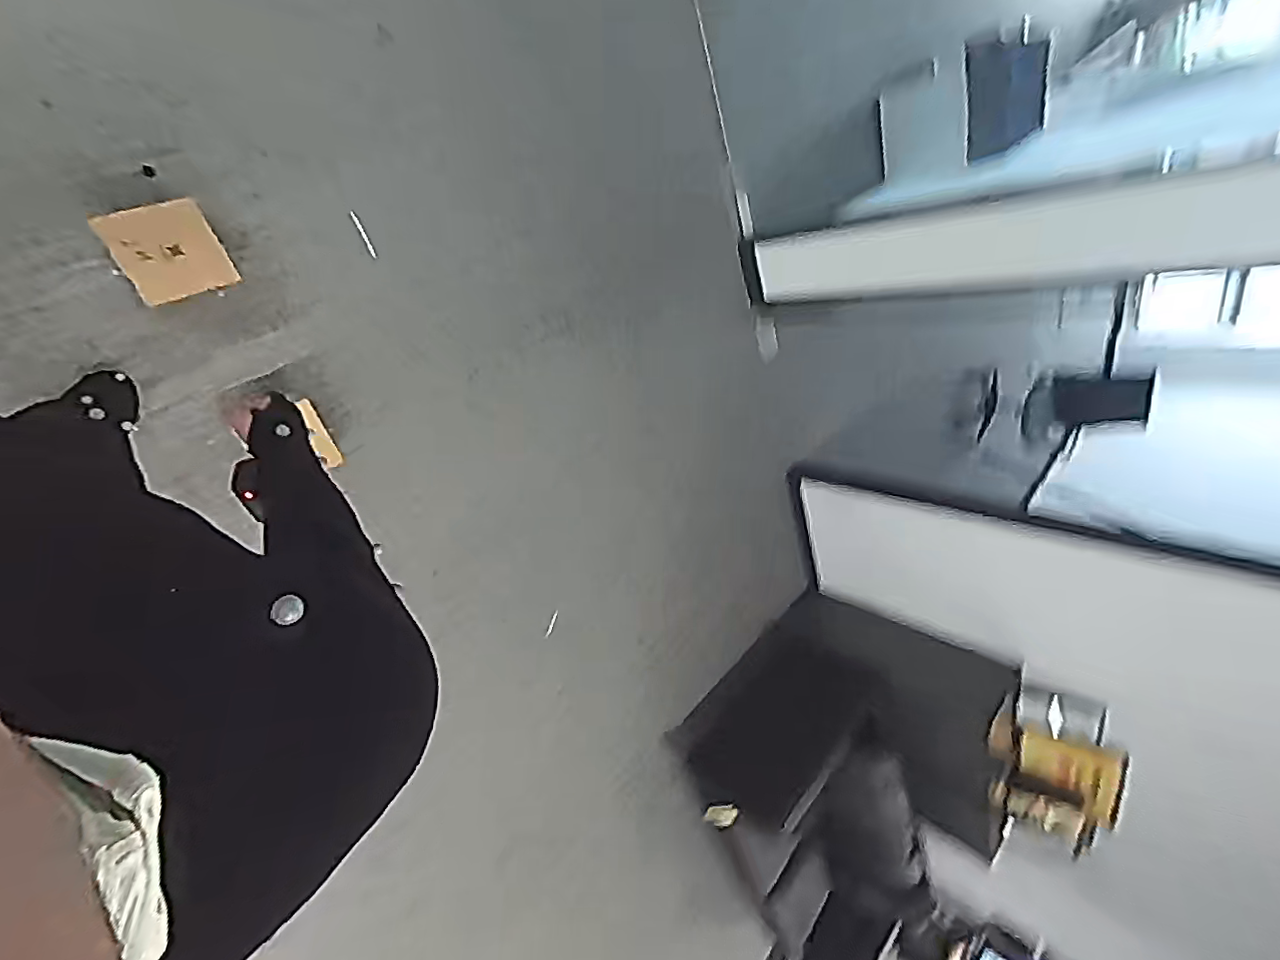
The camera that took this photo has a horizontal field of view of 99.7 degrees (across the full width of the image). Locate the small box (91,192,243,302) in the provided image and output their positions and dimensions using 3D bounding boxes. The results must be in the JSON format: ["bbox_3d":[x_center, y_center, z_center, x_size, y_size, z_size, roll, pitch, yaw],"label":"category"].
[{"bbox_3d":[-0.970,-0.476,1.116,0.179,0.176,0.168,-34,122,-30],"label":"small box"}]

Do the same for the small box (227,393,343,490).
[{"bbox_3d":[-0.865,-0.103,1.314,0.168,0.176,0.179,-34,123,-30],"label":"small box"}]
